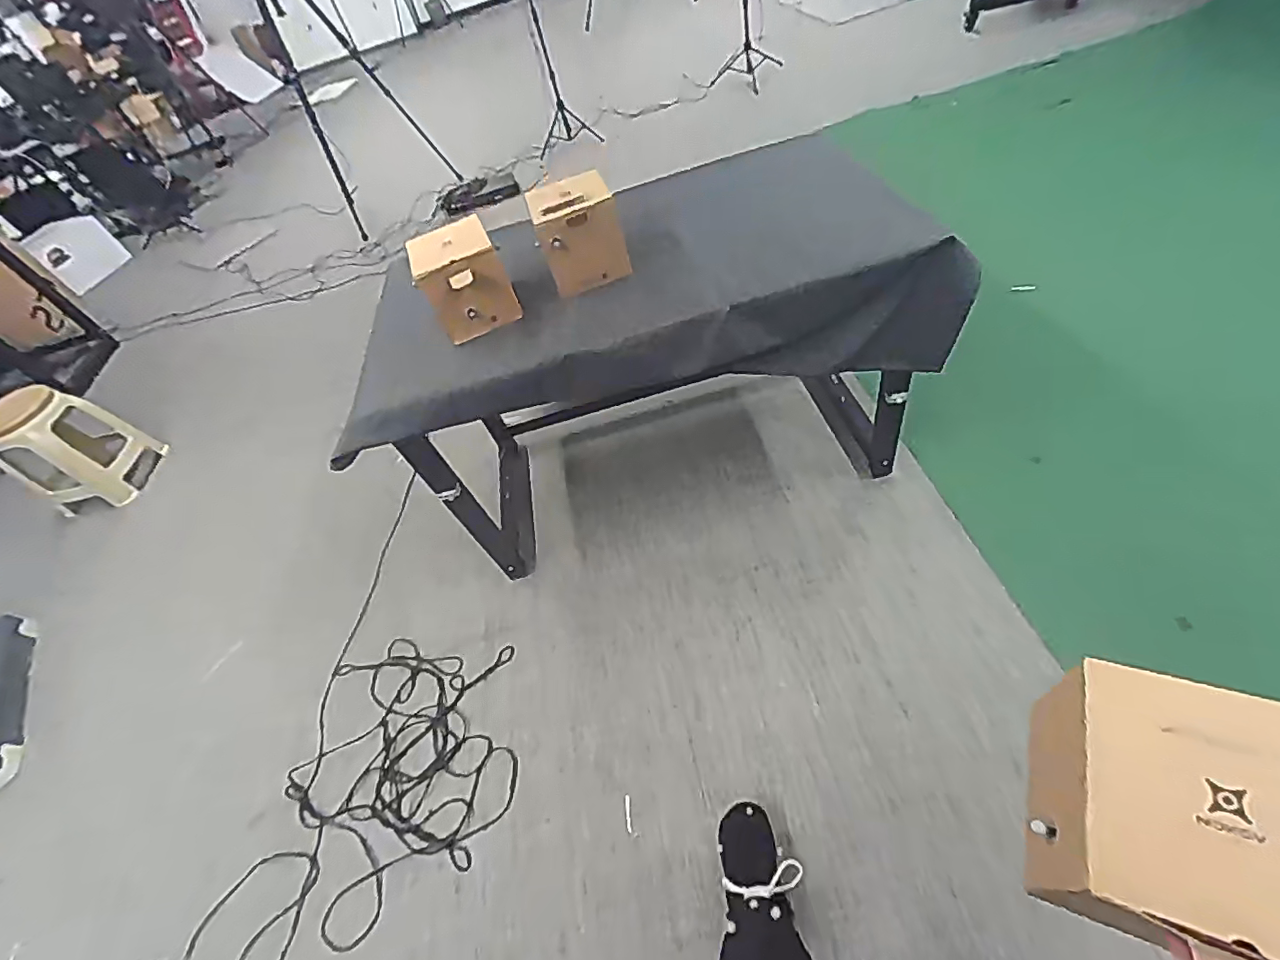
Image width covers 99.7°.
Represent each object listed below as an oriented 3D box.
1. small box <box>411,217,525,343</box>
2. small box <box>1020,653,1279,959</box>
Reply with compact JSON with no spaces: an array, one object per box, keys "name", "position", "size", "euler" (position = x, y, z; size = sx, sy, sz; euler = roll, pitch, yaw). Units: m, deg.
[{"name":"small box","position":[-0.365,-0.425,1.157],"size":[0.168,0.176,0.179],"euler":[-24,50,-5]},{"name":"small box","position":[0.433,0.274,0.444],"size":[0.168,0.176,0.179],"euler":[10,58,25]}]
